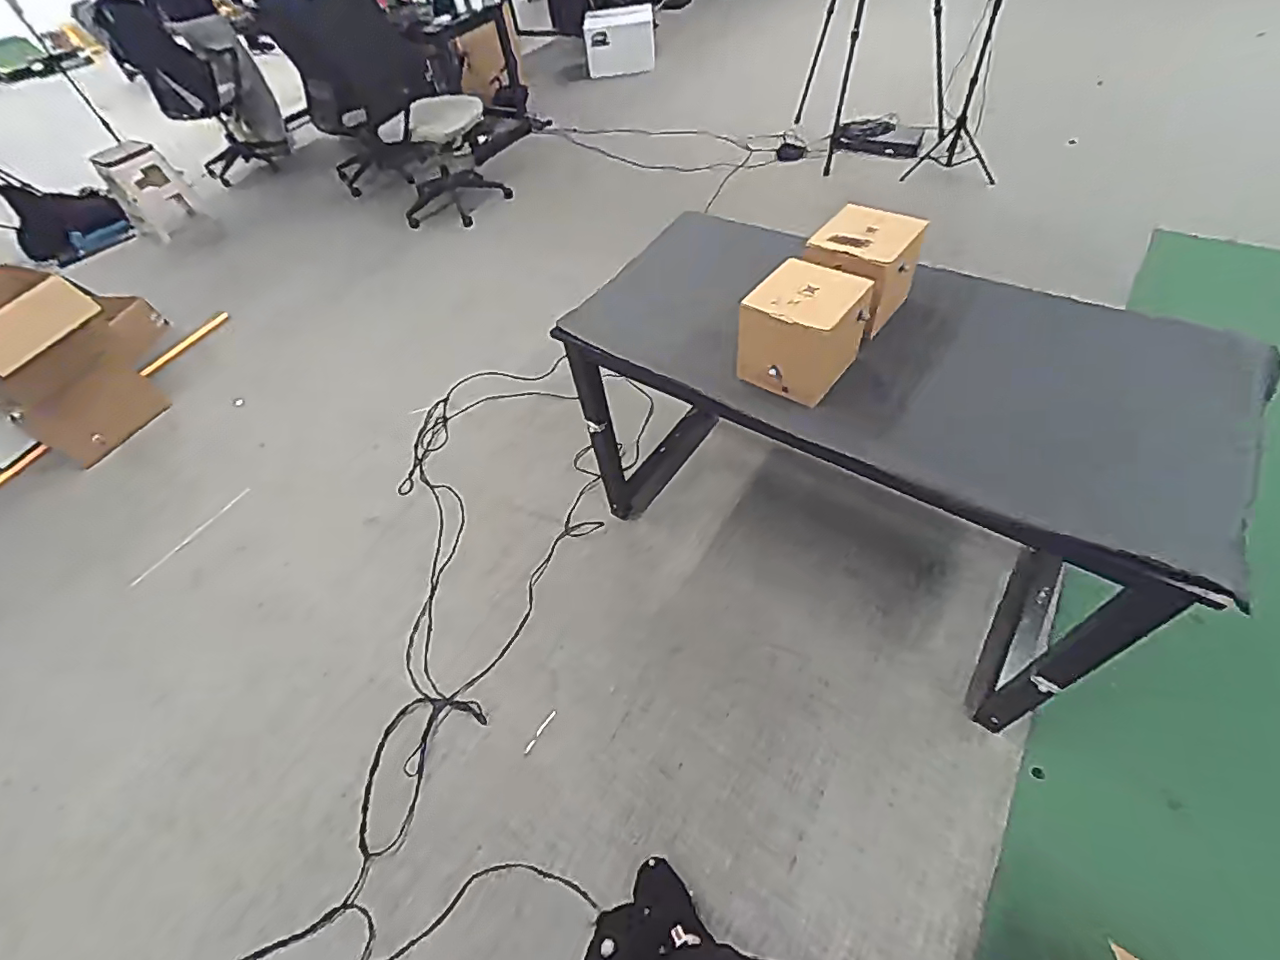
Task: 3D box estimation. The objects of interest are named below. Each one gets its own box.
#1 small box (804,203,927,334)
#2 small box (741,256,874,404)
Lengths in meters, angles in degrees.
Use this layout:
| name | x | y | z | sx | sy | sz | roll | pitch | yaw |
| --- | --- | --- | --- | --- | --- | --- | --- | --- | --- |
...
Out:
| name | x | y | z | sx | sy | sz | roll | pitch | yaw |
| --- | --- | --- | --- | --- | --- | --- | --- | --- | --- |
| small box | 0.442 | -0.423 | 1.090 | 0.168 | 0.176 | 0.179 | 30 | 62 | 27 |
| small box | 0.297 | -0.275 | 0.993 | 0.168 | 0.176 | 0.179 | 30 | 61 | 27 |
